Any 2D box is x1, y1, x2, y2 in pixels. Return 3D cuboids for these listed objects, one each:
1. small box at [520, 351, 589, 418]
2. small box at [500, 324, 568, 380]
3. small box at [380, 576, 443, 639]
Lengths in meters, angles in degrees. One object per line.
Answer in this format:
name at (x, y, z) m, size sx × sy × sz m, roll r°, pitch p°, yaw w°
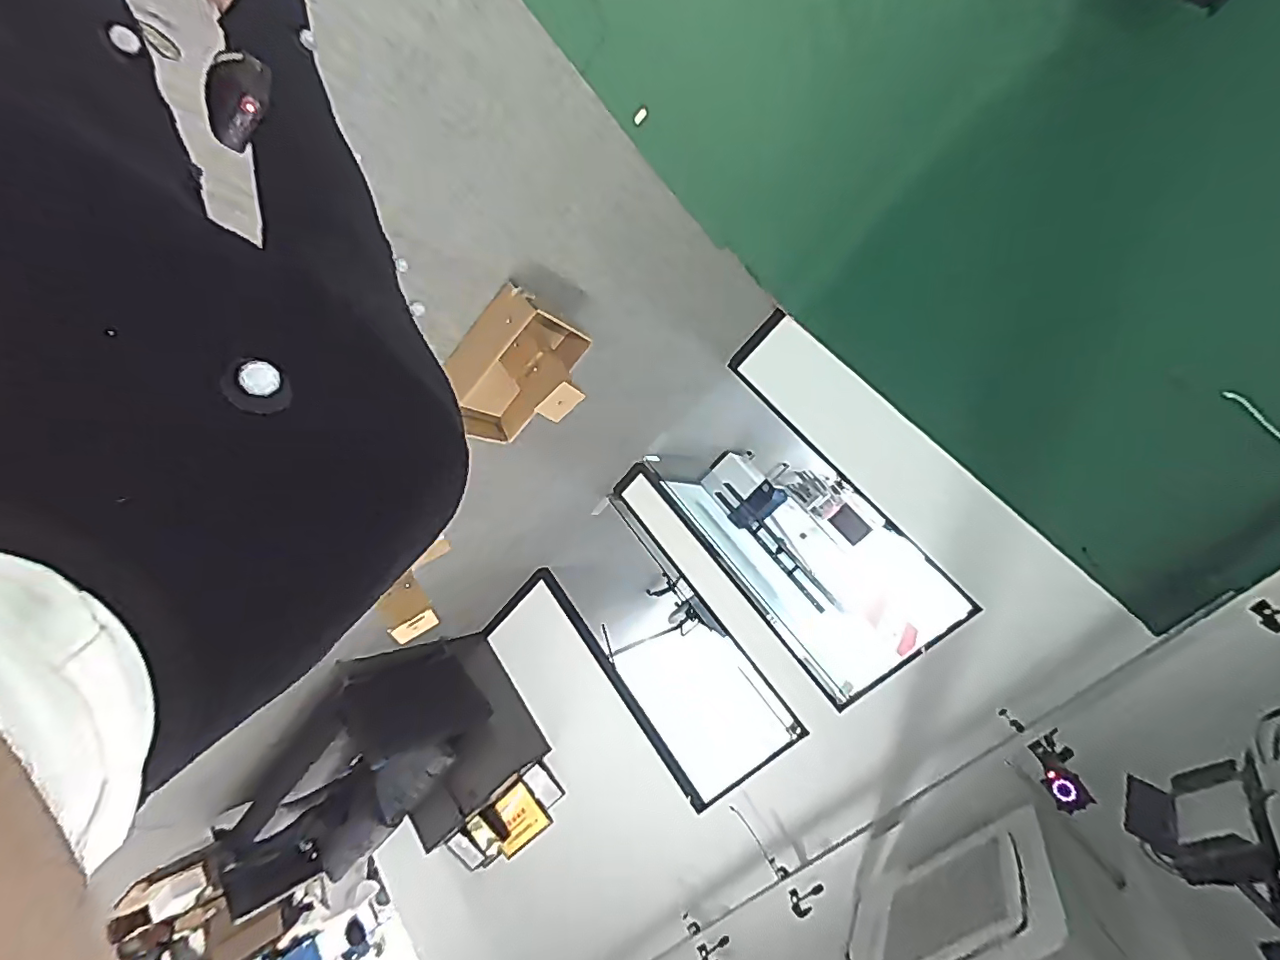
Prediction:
small box at (-0.339, -0.378, 2.135) m, size 0.168 × 0.176 × 0.179 m, roll -41°, pitch 157°, yaw 11°
small box at (-0.430, -0.502, 2.190) m, size 0.168 × 0.176 × 0.179 m, roll -41°, pitch 157°, yaw 15°
small box at (-0.941, 0.518, 2.222) m, size 0.168 × 0.176 × 0.179 m, roll -29°, pitch 157°, yaw -23°
